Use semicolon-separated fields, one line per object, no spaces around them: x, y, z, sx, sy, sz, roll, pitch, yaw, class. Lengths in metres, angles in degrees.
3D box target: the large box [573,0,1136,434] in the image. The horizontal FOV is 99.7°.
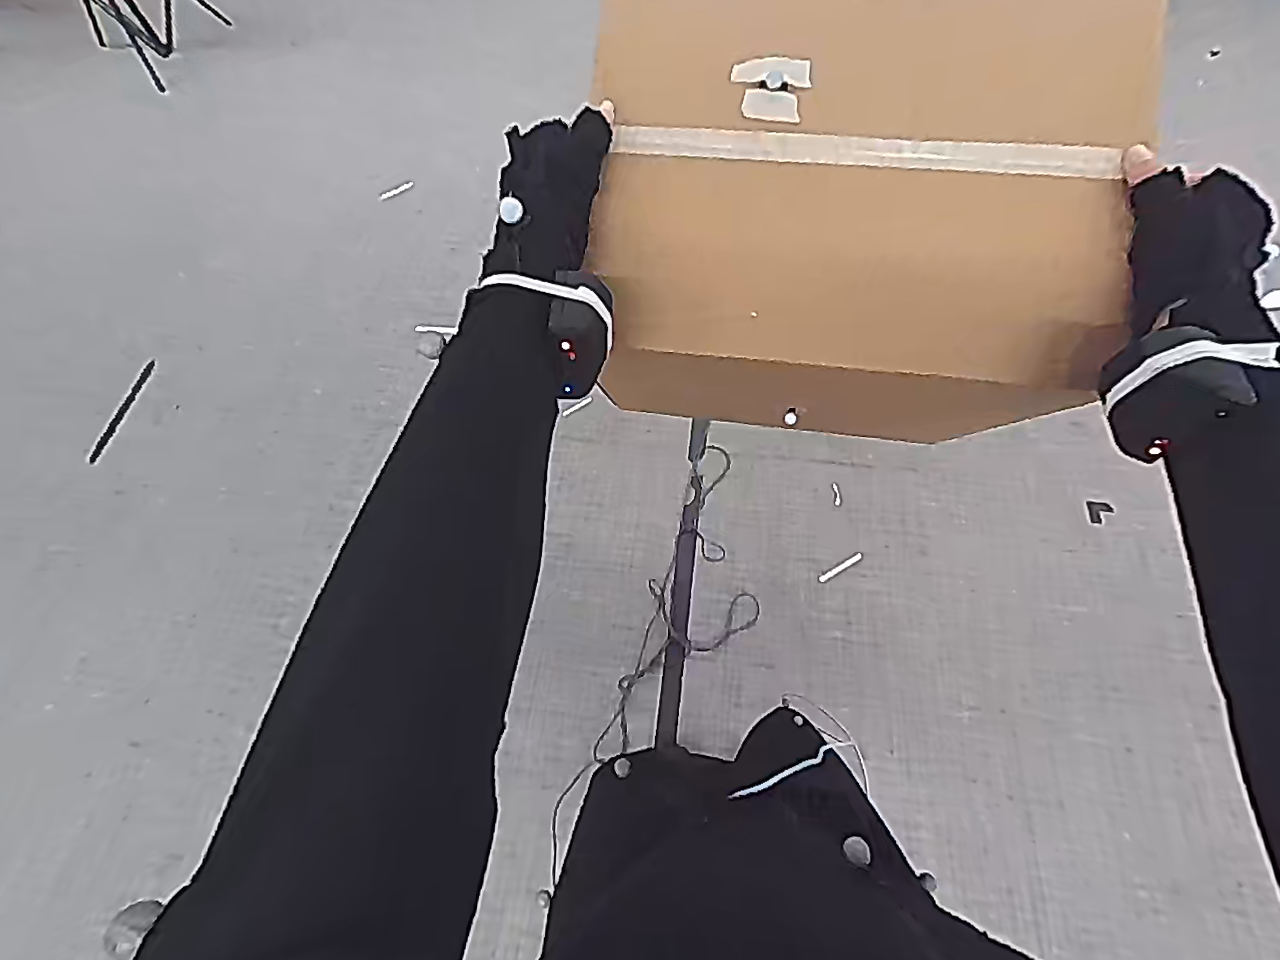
0.177;-0.233;0.568;0.408;0.320;0.320;7;87;8;large box
